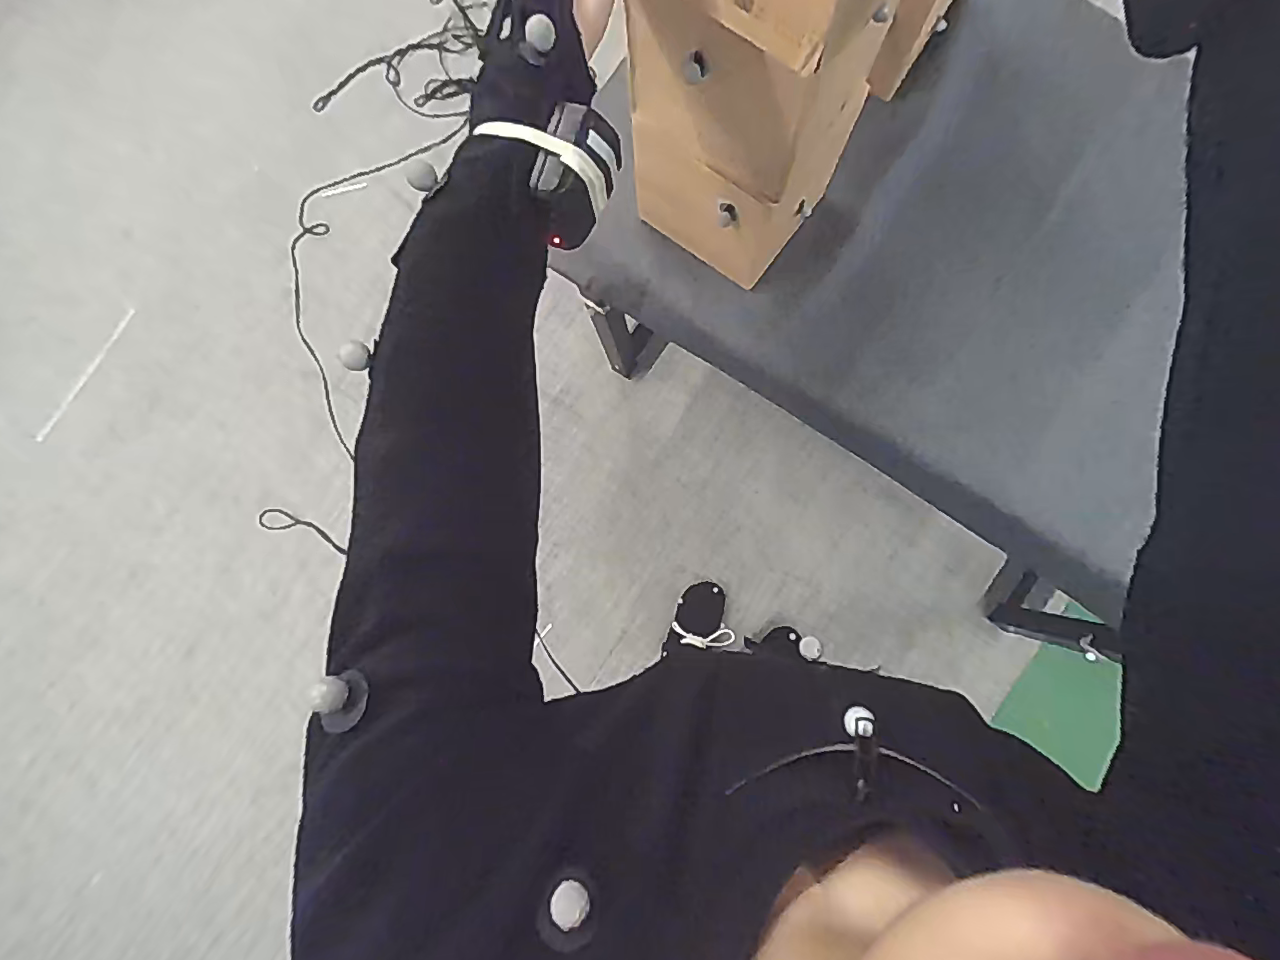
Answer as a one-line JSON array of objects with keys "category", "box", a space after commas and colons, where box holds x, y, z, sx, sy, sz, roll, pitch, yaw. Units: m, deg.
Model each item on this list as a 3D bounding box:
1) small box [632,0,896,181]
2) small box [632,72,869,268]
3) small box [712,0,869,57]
[{"category": "small box", "box": [0.102, -0.394, 0.448, 0.179, 0.176, 0.168, 33, 86, 6]}, {"category": "small box", "box": [0.111, -0.371, 0.609, 0.179, 0.176, 0.168, 37, 86, 6]}, {"category": "small box", "box": [0.100, -0.391, 0.282, 0.168, 0.176, 0.179, 38, 87, 6]}]
